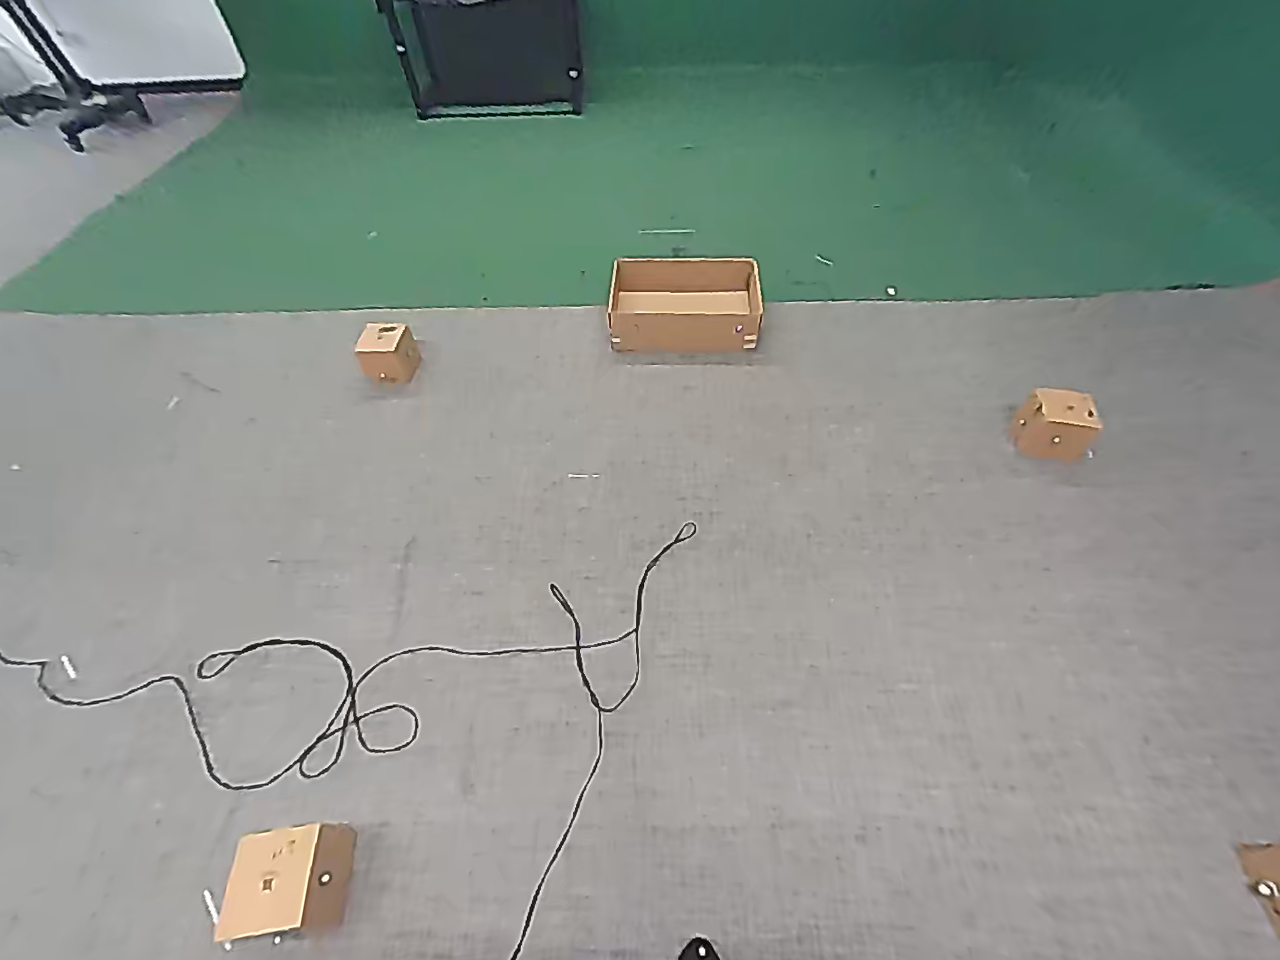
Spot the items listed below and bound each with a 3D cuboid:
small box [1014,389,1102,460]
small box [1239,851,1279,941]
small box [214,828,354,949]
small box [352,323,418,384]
[{"bbox_3d":[1.410,-0.187,1.844,0.179,0.176,0.168,9,53,10],"label":"small box"},{"bbox_3d":[1.384,0.835,1.068,0.179,0.176,0.168,-1,51,3],"label":"small box"},{"bbox_3d":[-0.725,0.847,1.127,0.168,0.176,0.179,-7,52,-3],"label":"small box"},{"bbox_3d":[-1.016,-0.510,2.176,0.168,0.176,0.179,1,53,3],"label":"small box"}]
